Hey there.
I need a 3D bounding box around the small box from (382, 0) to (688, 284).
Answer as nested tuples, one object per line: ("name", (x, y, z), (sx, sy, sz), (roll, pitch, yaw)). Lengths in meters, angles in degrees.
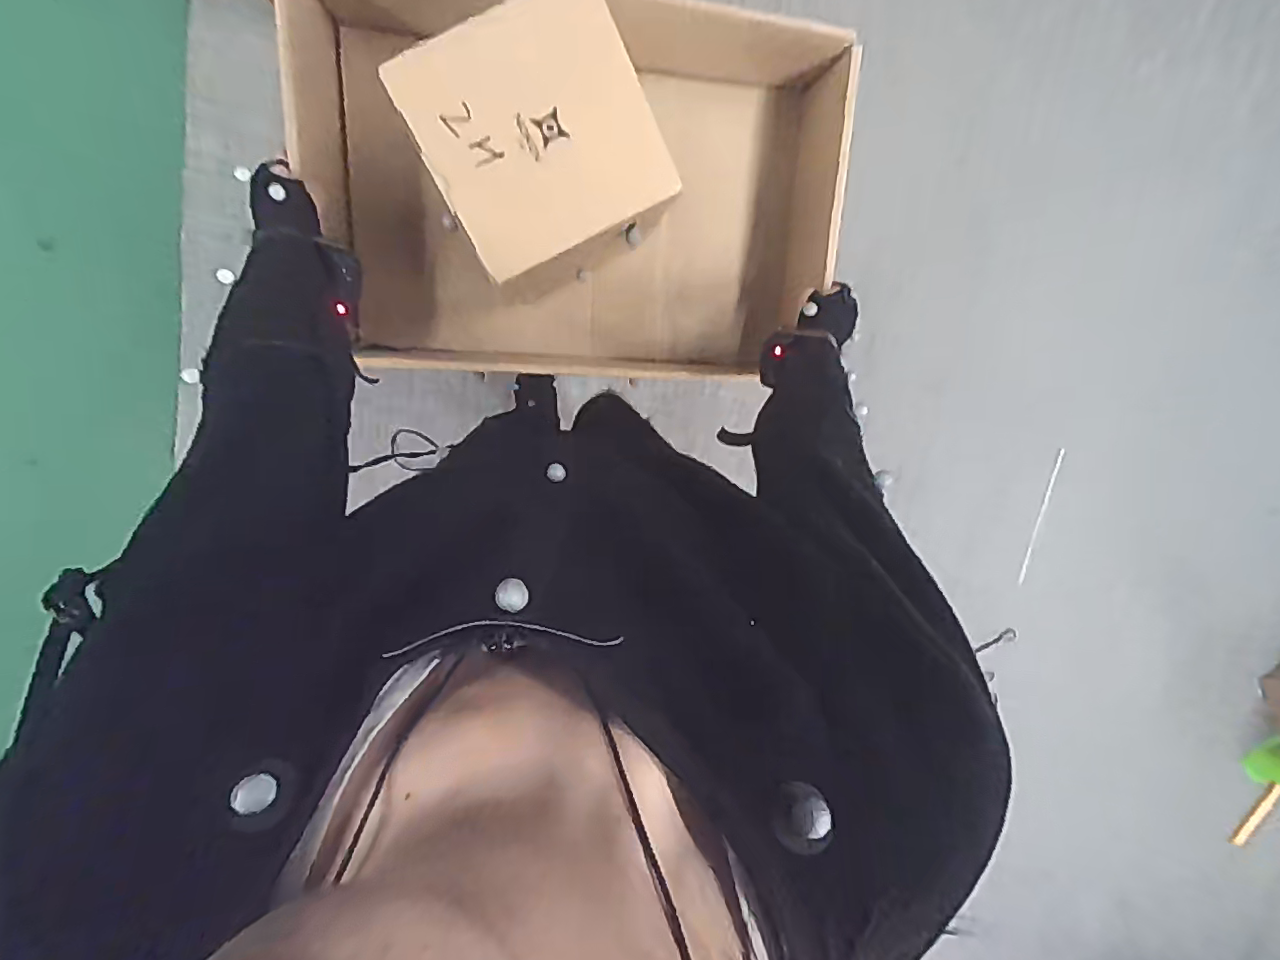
("small box", (-0.085, -0.293, 0.477), (0.179, 0.176, 0.168), (-28, 105, -2))
